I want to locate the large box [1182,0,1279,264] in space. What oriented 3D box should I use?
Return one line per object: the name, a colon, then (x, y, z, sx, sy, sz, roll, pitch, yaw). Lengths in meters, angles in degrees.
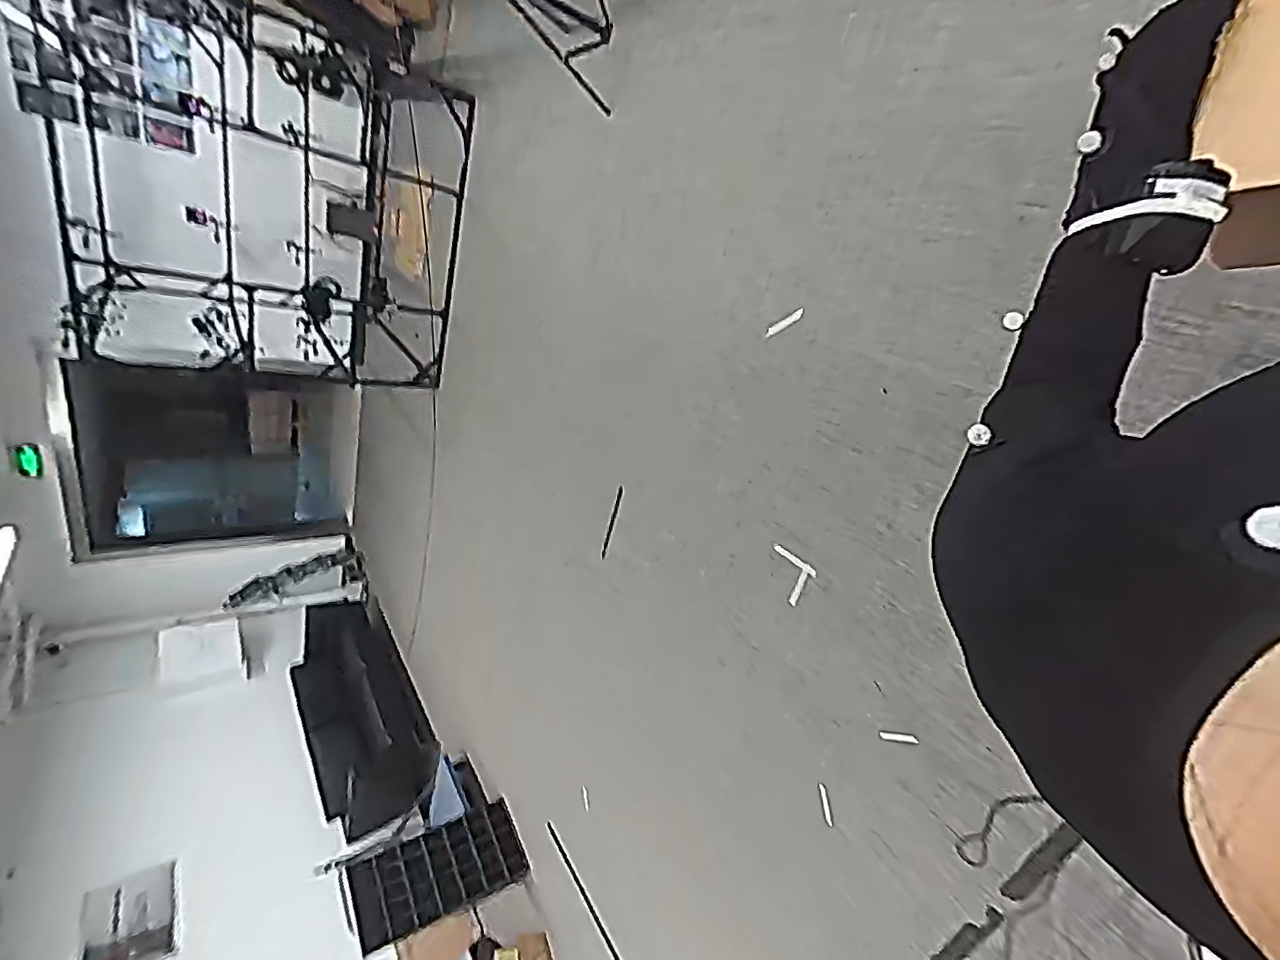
large box: (0.656, -0.354, 0.337, 0.408, 0.320, 0.320, 13, 104, 49)
